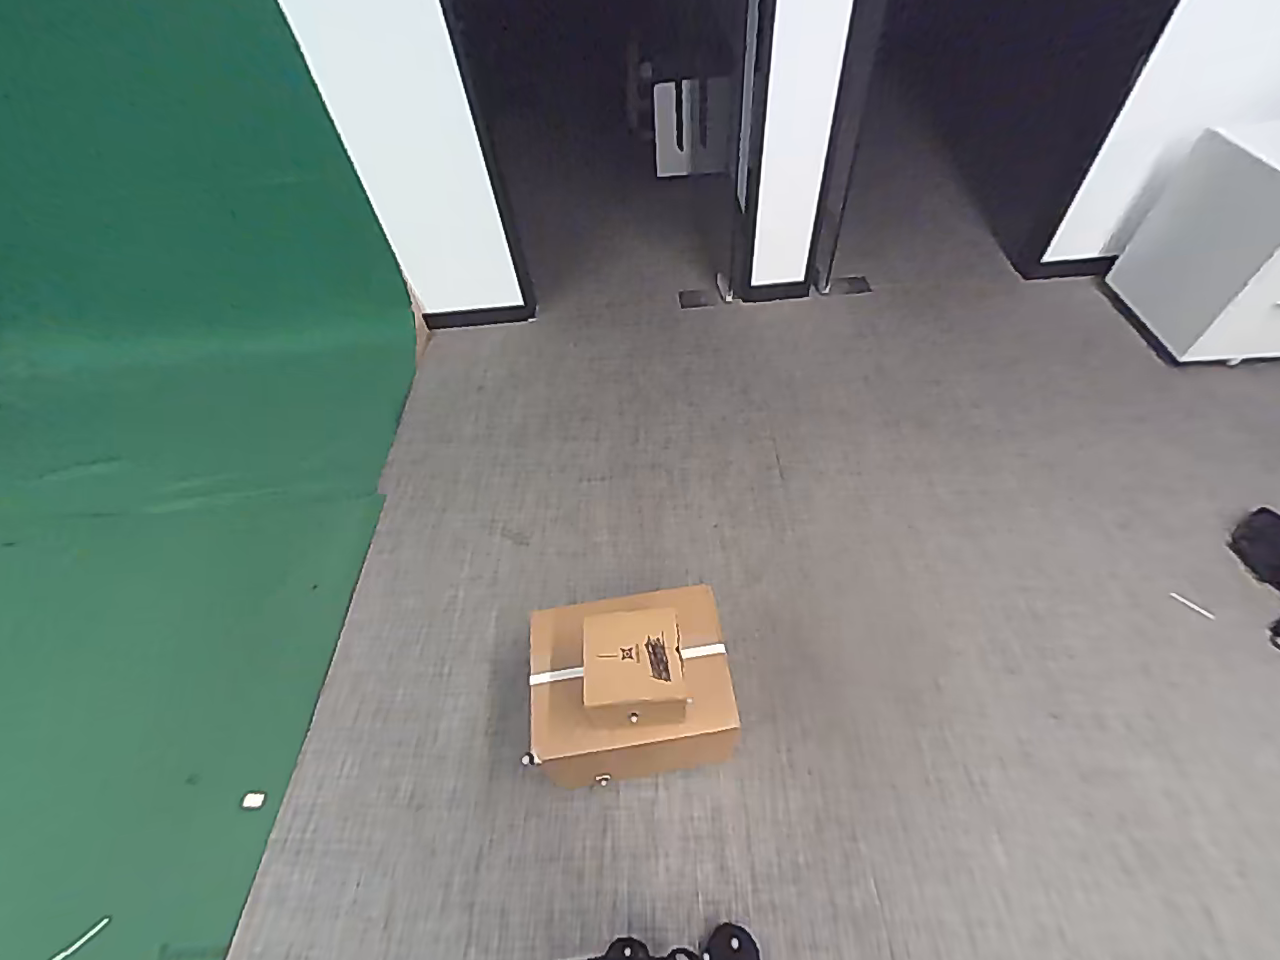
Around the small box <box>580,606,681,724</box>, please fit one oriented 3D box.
[{"bbox_3d":[-0.016,0.357,1.035,0.179,0.176,0.168,-6,52,2],"label":"small box"}]
